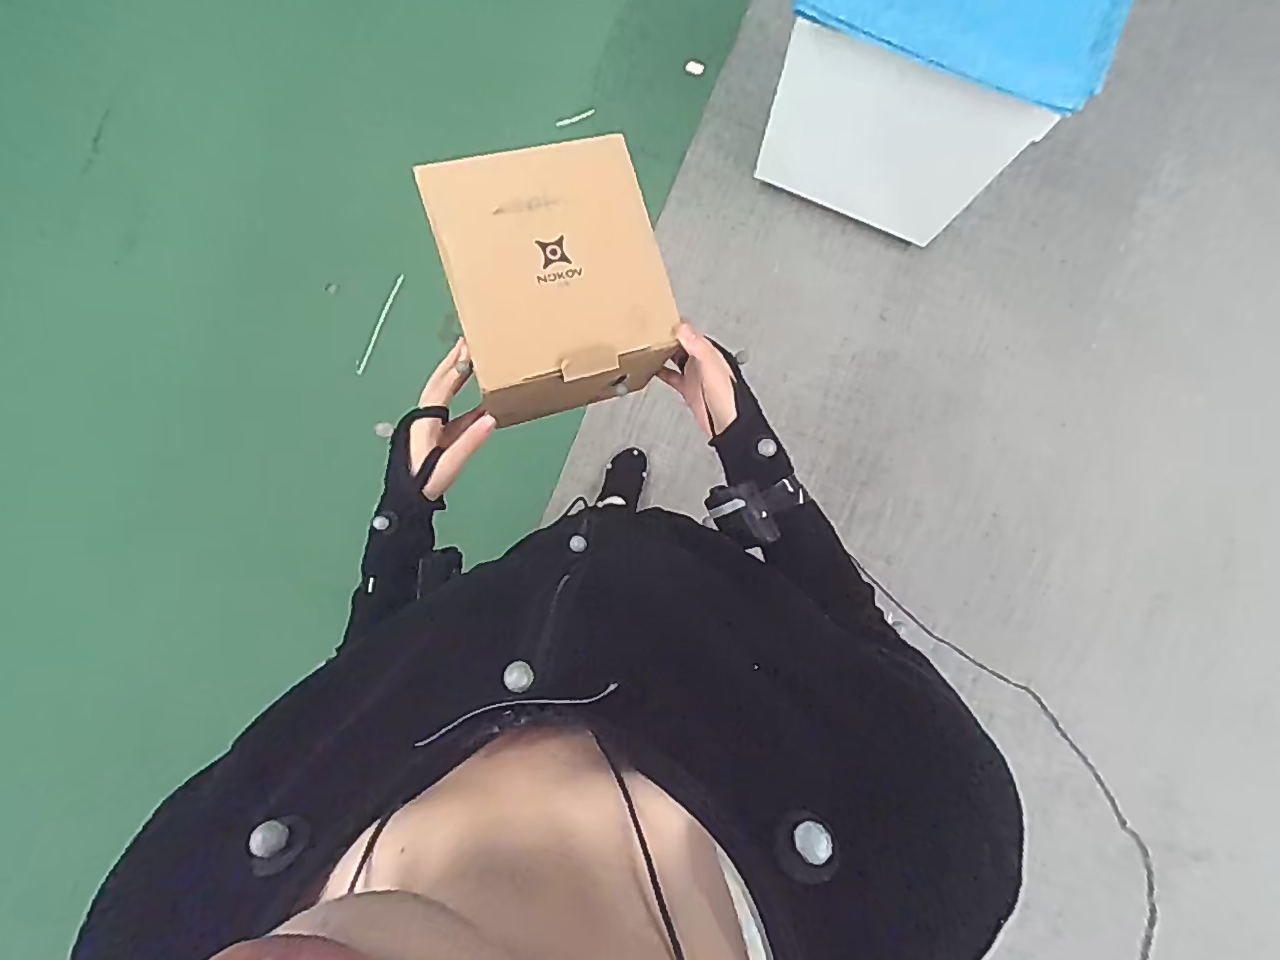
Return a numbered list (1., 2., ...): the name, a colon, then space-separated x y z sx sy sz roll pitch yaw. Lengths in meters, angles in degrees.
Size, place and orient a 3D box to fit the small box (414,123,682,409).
1. small box: -0.080 -0.169 0.480 0.168 0.176 0.179 -16 89 -13
